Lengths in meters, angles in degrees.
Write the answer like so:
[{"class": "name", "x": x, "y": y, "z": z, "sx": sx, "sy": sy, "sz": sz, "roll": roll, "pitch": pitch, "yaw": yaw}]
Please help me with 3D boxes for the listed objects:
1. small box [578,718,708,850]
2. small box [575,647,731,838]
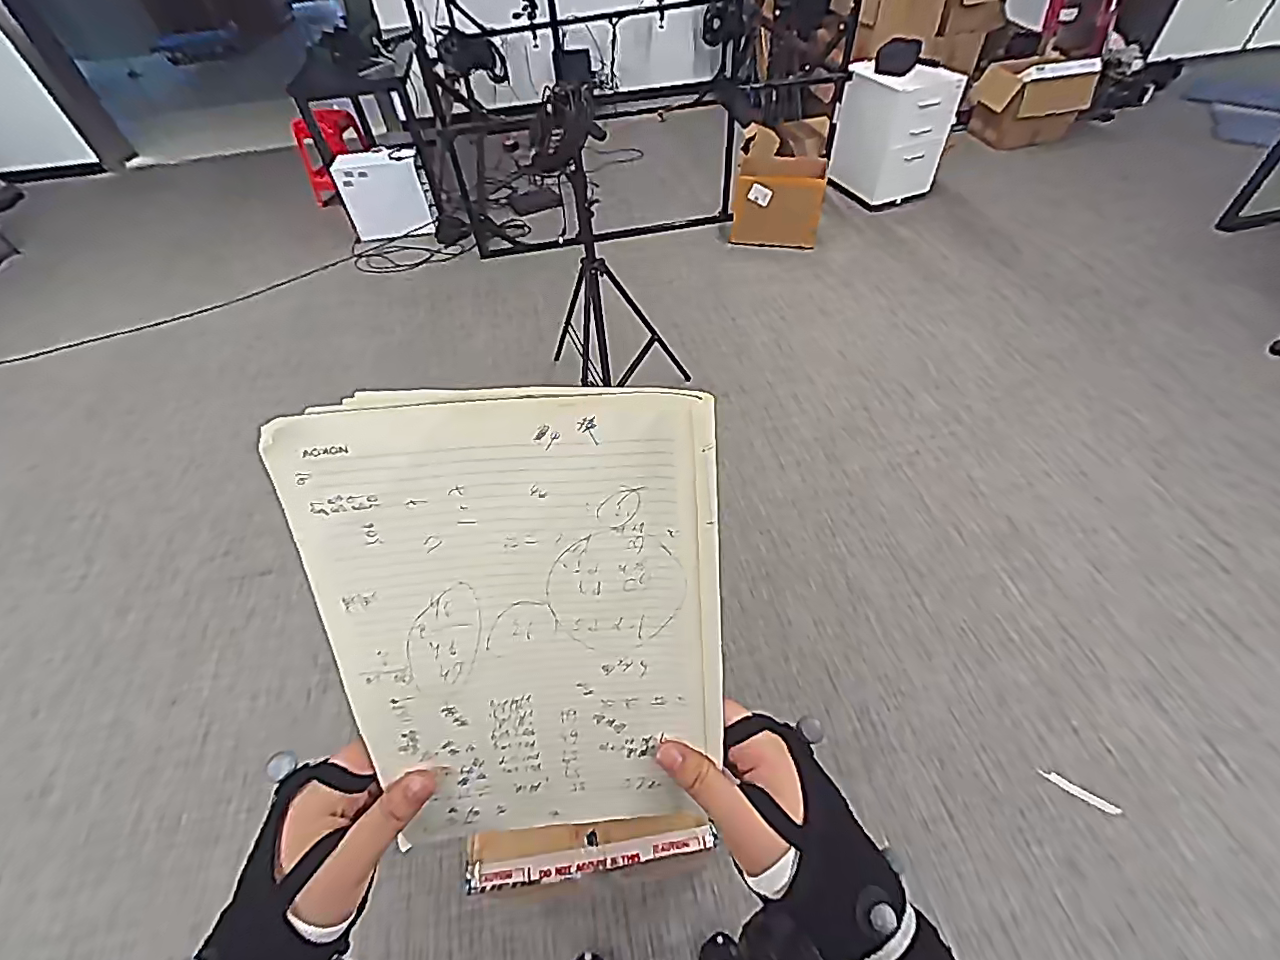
[{"class": "small box", "x": 0.008, "y": 0.449, "z": 0.834, "sx": 0.179, "sy": 0.176, "sz": 0.168, "roll": -11, "pitch": 51, "yaw": -7}, {"class": "small box", "x": 0.009, "y": 0.344, "z": 0.706, "sx": 0.168, "sy": 0.176, "sz": 0.179, "roll": -8, "pitch": 52, "yaw": -5}]
